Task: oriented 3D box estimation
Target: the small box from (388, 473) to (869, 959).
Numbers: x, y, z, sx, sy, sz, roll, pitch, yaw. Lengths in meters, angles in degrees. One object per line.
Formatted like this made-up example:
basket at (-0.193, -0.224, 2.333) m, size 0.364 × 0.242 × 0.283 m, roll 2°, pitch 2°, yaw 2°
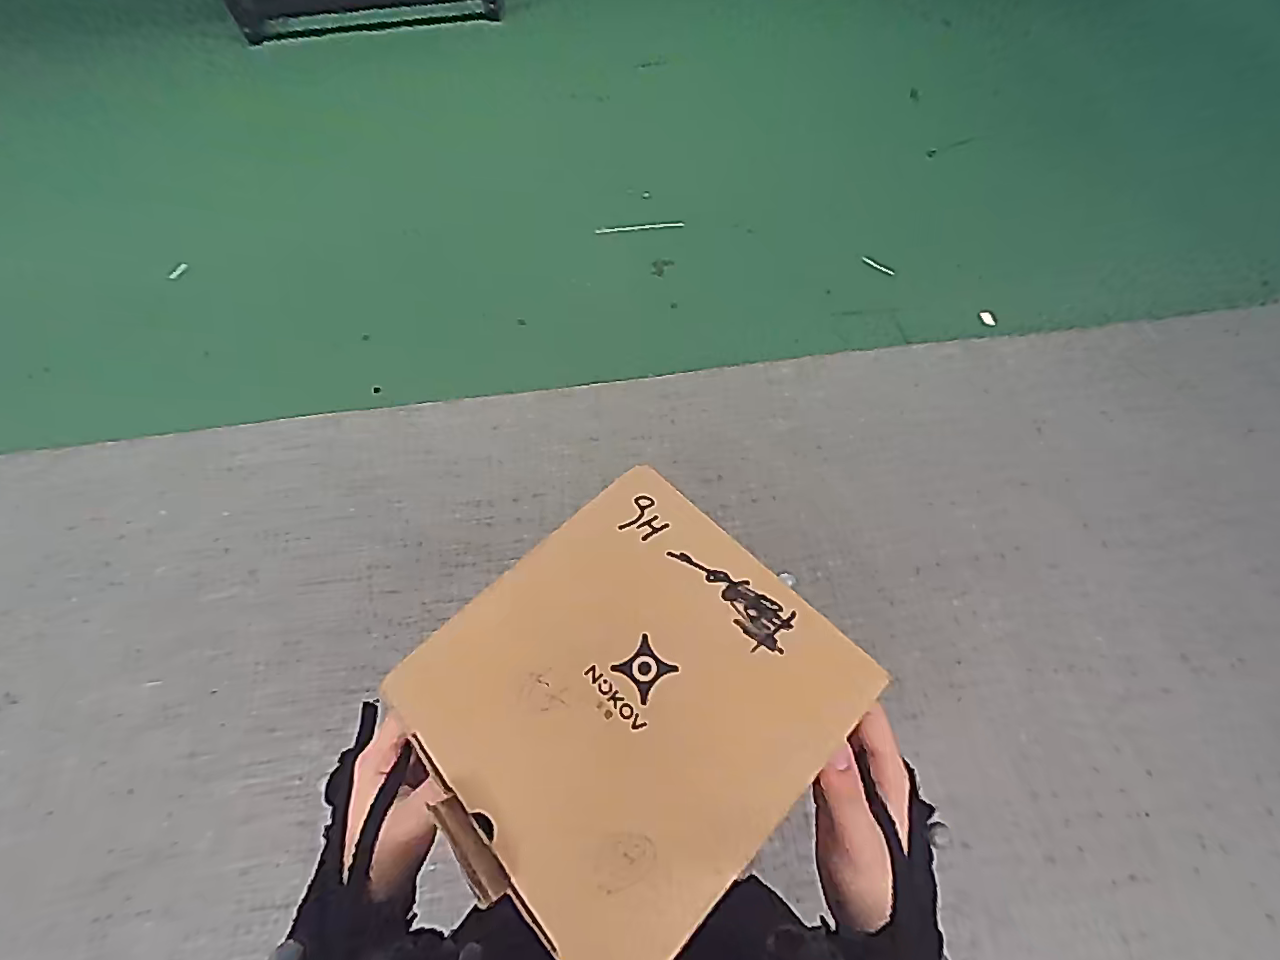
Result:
small box at (-0.002, 0.136, 0.326) m, size 0.179 × 0.176 × 0.168 m, roll -42°, pitch 67°, yaw -17°
